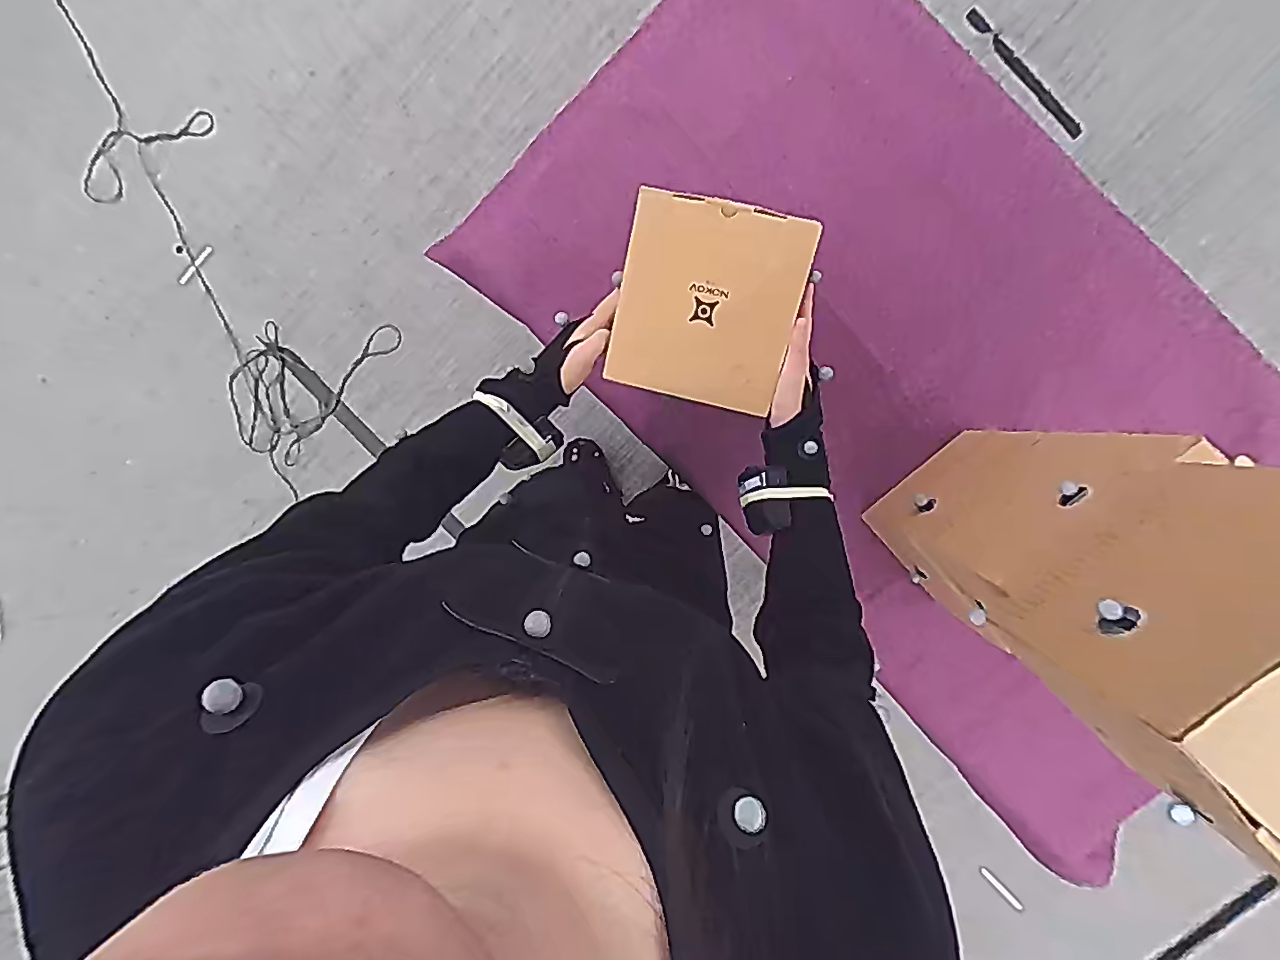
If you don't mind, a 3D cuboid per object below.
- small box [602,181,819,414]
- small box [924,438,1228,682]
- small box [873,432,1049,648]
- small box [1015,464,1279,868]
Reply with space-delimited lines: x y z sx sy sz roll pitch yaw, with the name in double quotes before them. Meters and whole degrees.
"small box" 0.071 -0.182 0.568 0.168 0.176 0.179 14 105 5
"small box" 0.402 0.075 0.484 0.179 0.176 0.168 -42 91 8
"small box" 0.409 0.059 0.647 0.179 0.176 0.168 -41 92 7
"small box" 0.375 0.108 0.326 0.168 0.176 0.179 45 97 -2
